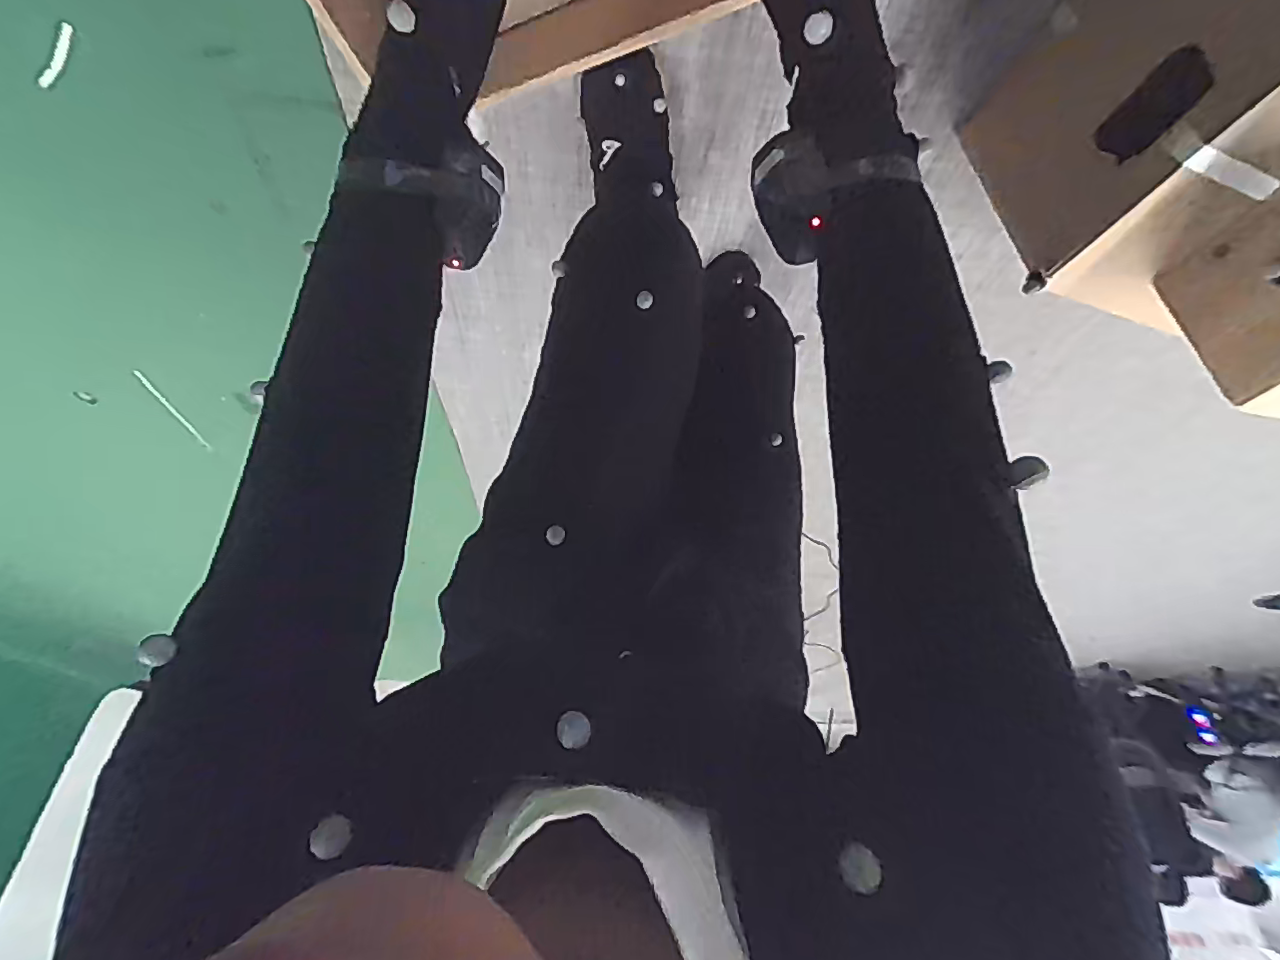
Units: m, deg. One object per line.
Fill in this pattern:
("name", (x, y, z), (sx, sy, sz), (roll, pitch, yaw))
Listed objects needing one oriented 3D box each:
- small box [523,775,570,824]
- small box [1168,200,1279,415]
("small box", (-0.381, 1.318, 2.232), (0.168, 0.176, 0.179), (3, 151, -1))
("small box", (0.654, -0.168, 0.489), (0.179, 0.176, 0.168), (8, 150, -10))
